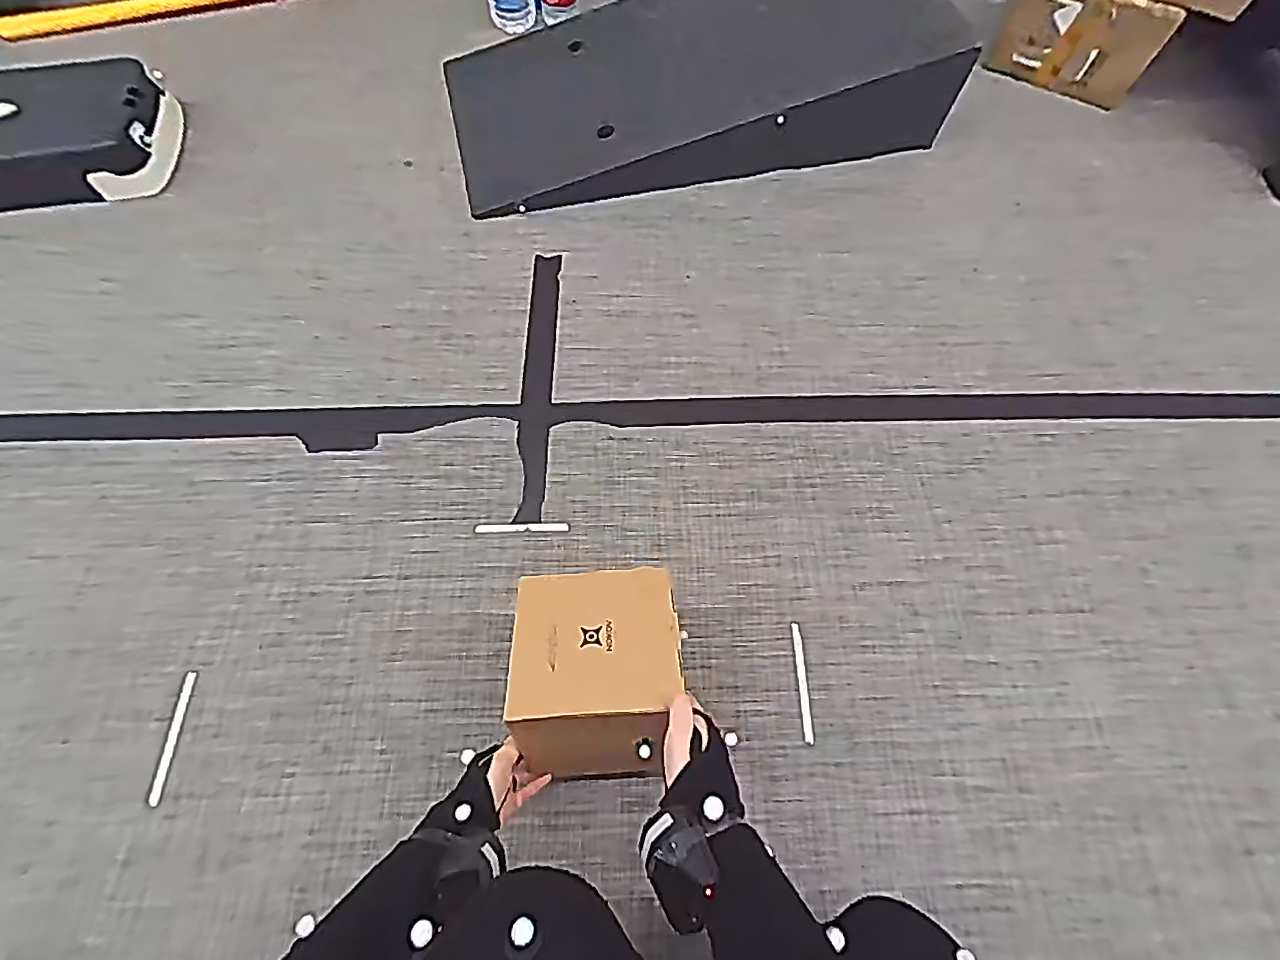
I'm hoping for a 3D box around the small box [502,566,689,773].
[{"bbox_3d":[-0.043,0.215,0.611,0.179,0.176,0.168,-3,44,0],"label":"small box"}]
